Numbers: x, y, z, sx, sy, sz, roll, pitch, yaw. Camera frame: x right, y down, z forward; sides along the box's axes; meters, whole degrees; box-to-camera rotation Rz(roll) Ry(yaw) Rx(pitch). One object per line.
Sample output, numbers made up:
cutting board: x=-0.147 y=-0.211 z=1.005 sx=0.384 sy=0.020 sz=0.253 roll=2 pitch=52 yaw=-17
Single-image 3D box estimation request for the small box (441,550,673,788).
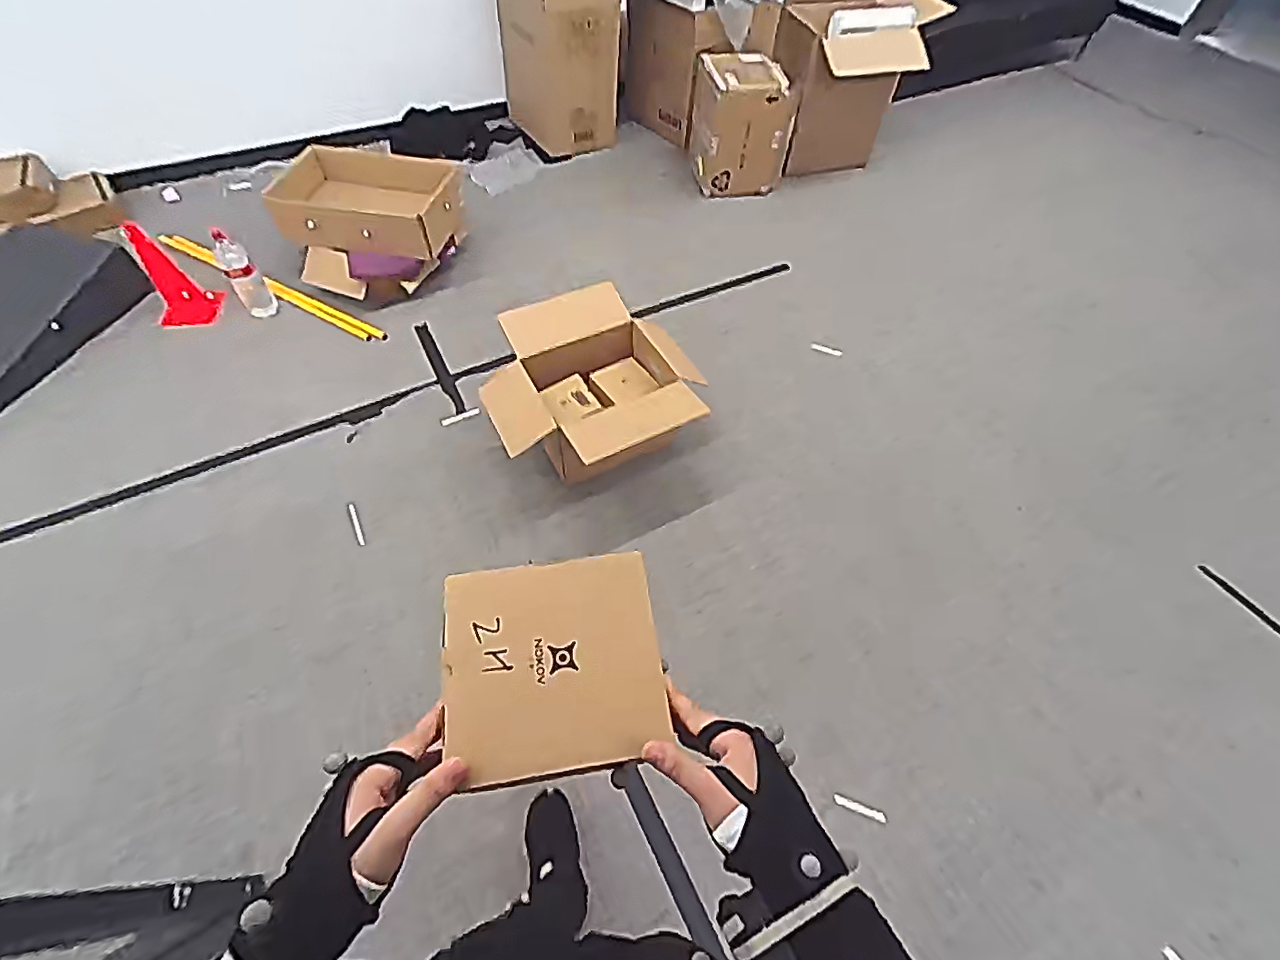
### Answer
small box: x=-0.076 y=0.181 z=0.509 sx=0.179 sy=0.176 sz=0.168 roll=-7 pitch=61 yaw=-6
